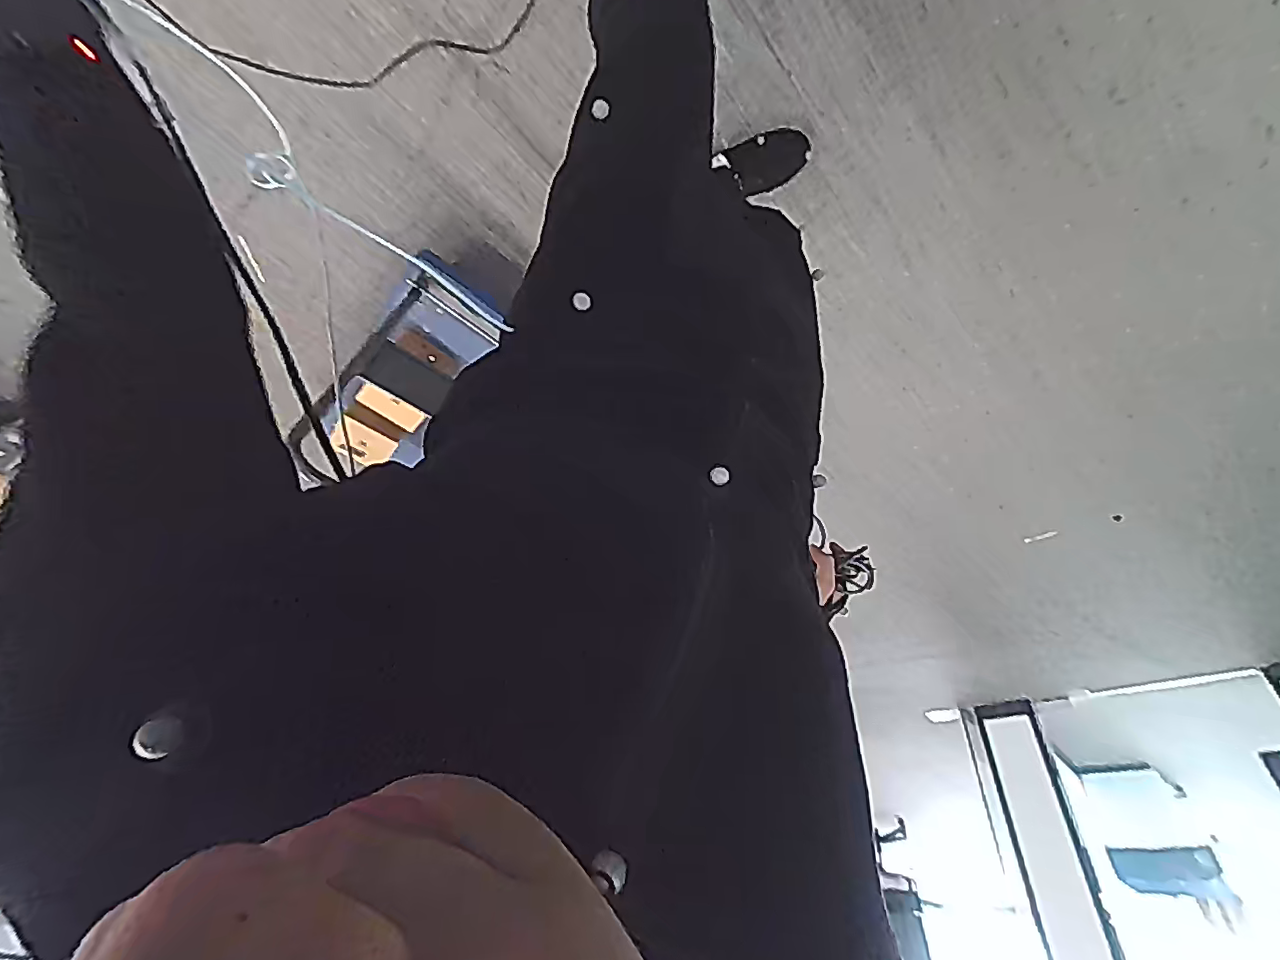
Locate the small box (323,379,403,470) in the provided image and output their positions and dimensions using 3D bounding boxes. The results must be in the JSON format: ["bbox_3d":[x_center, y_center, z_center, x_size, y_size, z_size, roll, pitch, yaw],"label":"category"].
[{"bbox_3d":[-0.813,-0.167,1.629,0.168,0.176,0.179,32,132,-25],"label":"small box"}]

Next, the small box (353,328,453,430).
[{"bbox_3d":[-0.643,-0.276,1.482,0.168,0.176,0.179,36,131,-27],"label":"small box"}]
